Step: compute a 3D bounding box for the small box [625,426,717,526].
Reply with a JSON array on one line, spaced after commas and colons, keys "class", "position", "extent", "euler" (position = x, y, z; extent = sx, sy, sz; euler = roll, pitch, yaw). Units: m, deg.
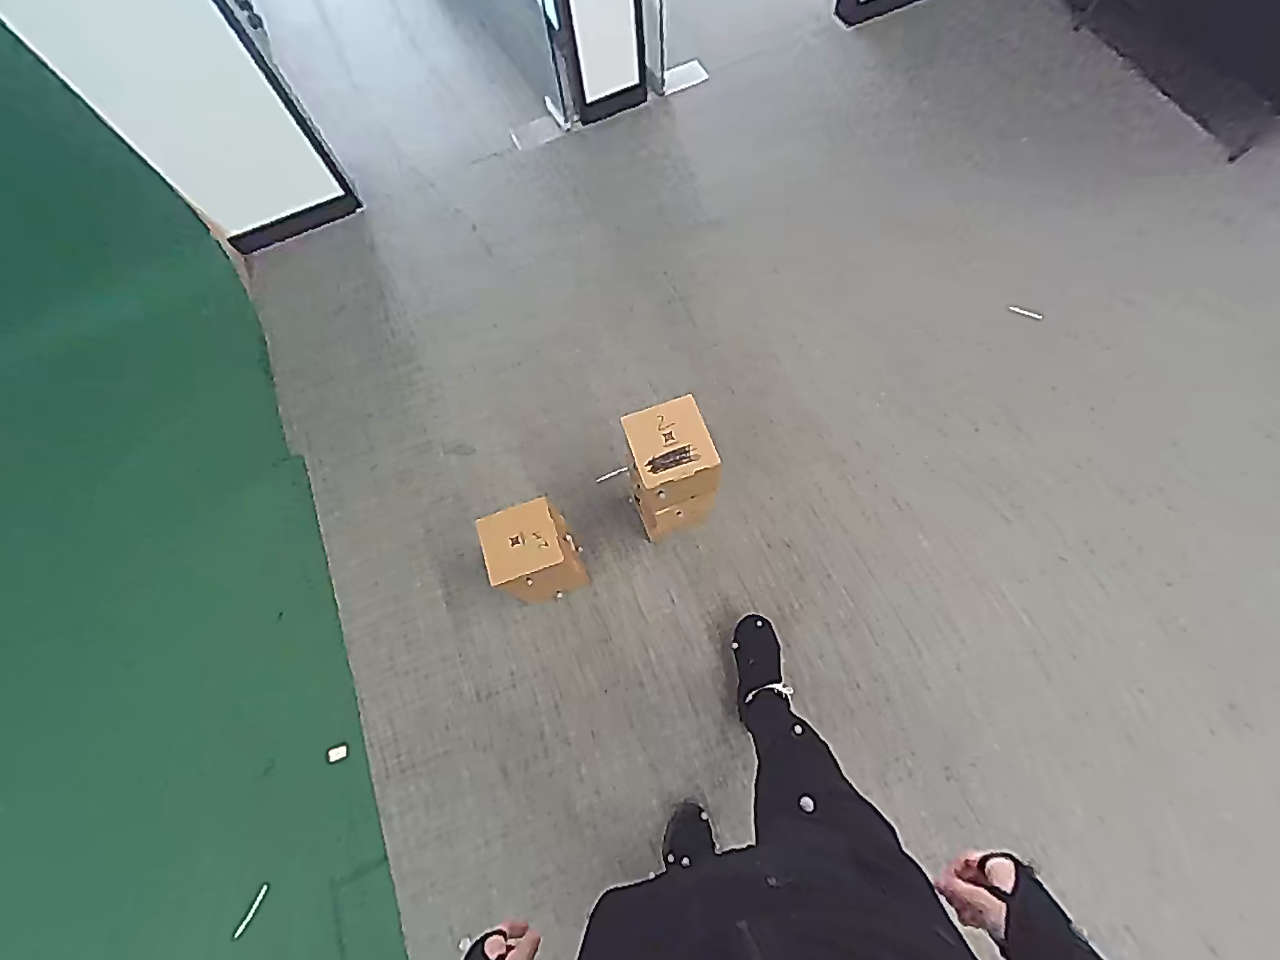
[{"class": "small box", "position": [0.080, 0.000, 1.346], "extent": [0.168, 0.176, 0.179], "euler": [-26, 69, -5]}]

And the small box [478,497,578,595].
[{"class": "small box", "position": [-0.266, 0.167, 1.312], "extent": [0.179, 0.176, 0.168], "euler": [-19, 70, -3]}]

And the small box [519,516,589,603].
[{"class": "small box", "position": [-0.246, 0.221, 1.467], "extent": [0.179, 0.176, 0.168], "euler": [-21, 69, -4]}]

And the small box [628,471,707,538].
[{"class": "small box", "position": [0.082, 0.044, 1.502], "extent": [0.179, 0.176, 0.168], "euler": [-22, 70, -4]}]
